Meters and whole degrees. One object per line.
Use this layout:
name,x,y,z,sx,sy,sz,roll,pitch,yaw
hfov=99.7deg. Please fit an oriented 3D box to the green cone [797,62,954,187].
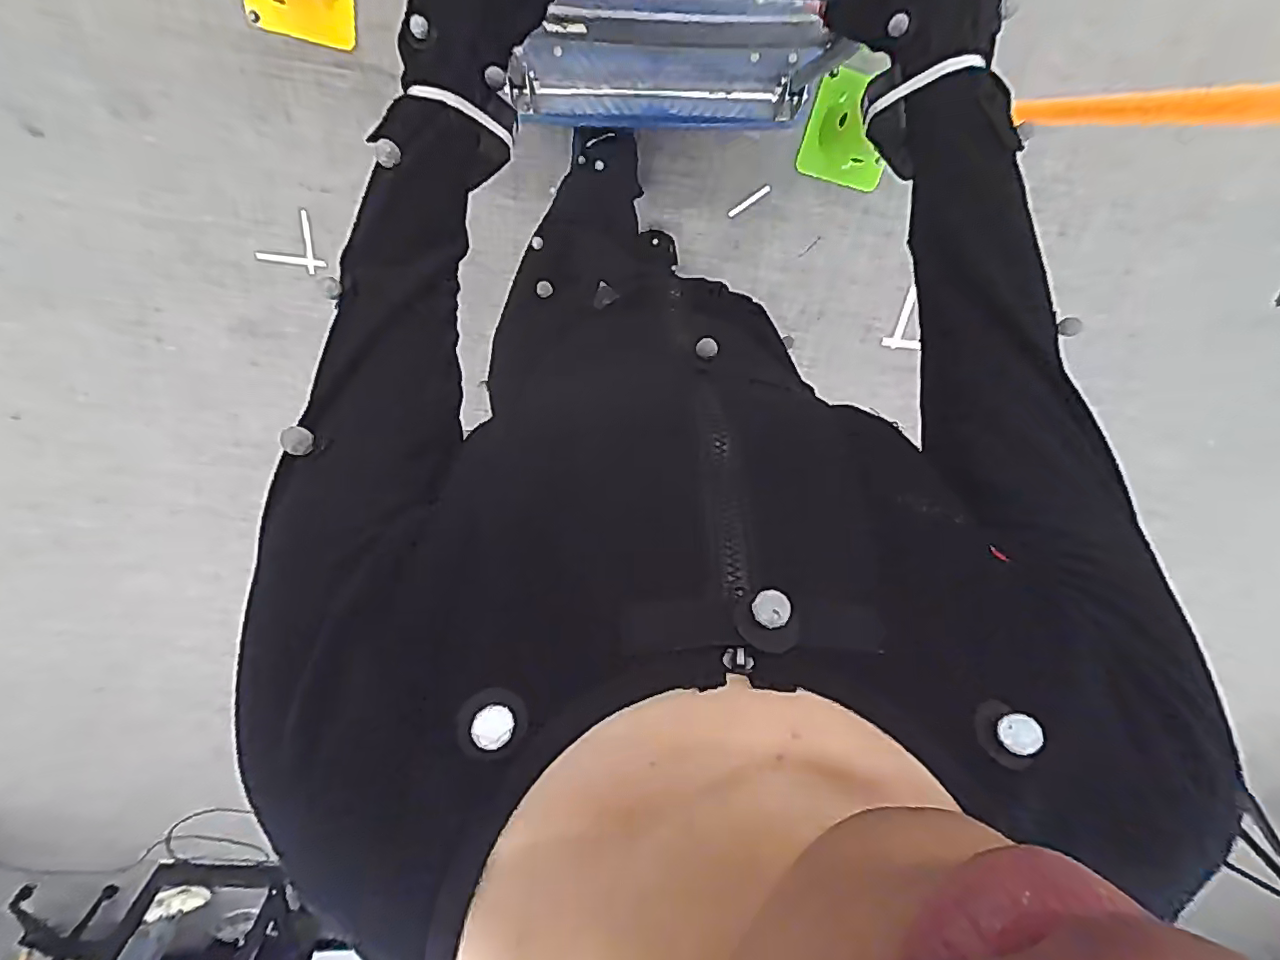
green cone,0.473,-0.682,1.031,0.202,0.368,0.200,9,119,-10
